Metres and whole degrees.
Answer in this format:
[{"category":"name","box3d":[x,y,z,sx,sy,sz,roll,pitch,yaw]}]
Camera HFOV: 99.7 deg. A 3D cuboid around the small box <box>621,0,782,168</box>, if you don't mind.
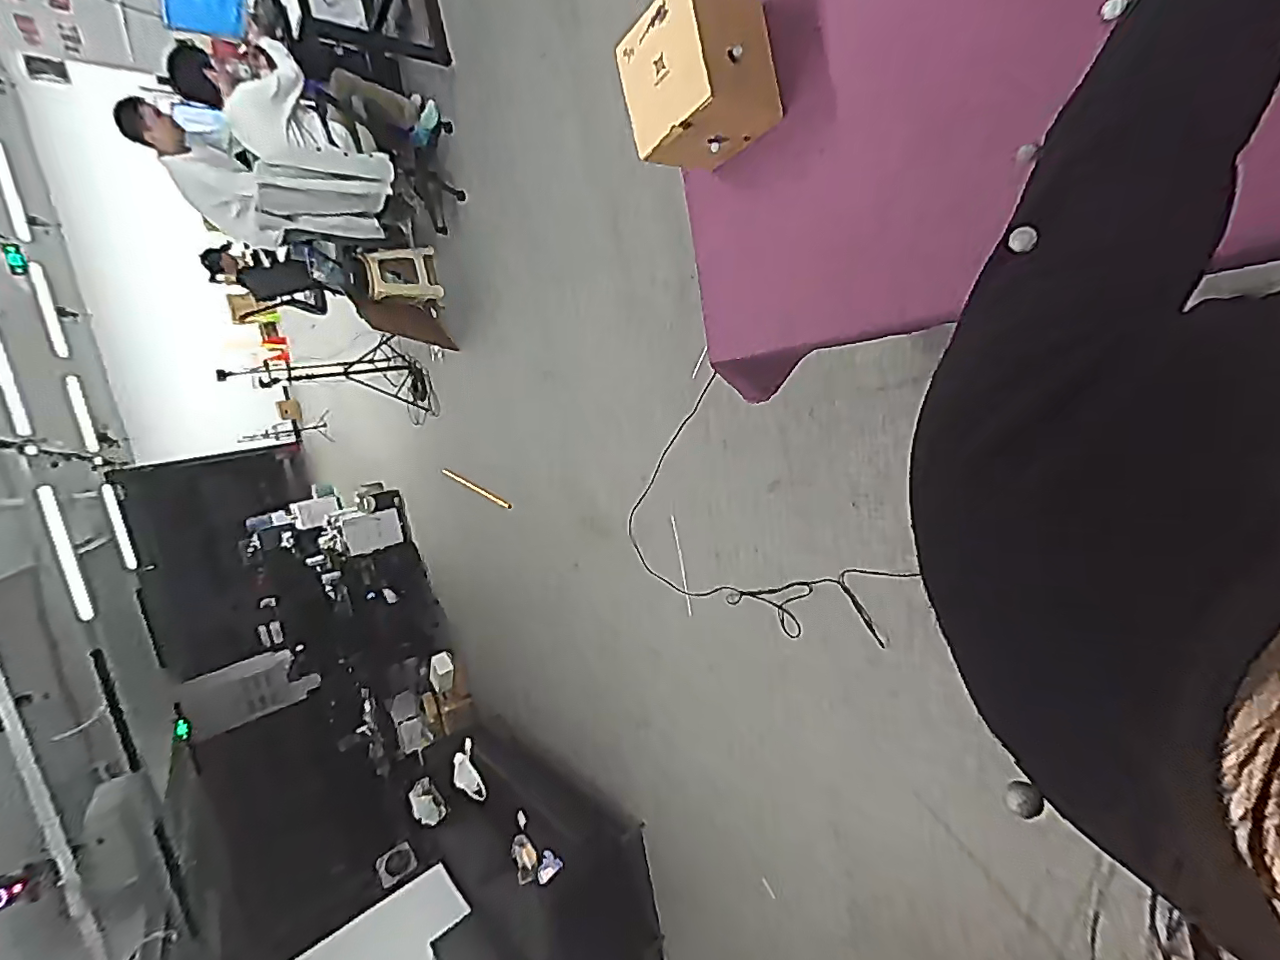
[{"category":"small box","box3d":[0.100,-0.617,0.849,0.168,0.176,0.179,-7,99,52]}]
